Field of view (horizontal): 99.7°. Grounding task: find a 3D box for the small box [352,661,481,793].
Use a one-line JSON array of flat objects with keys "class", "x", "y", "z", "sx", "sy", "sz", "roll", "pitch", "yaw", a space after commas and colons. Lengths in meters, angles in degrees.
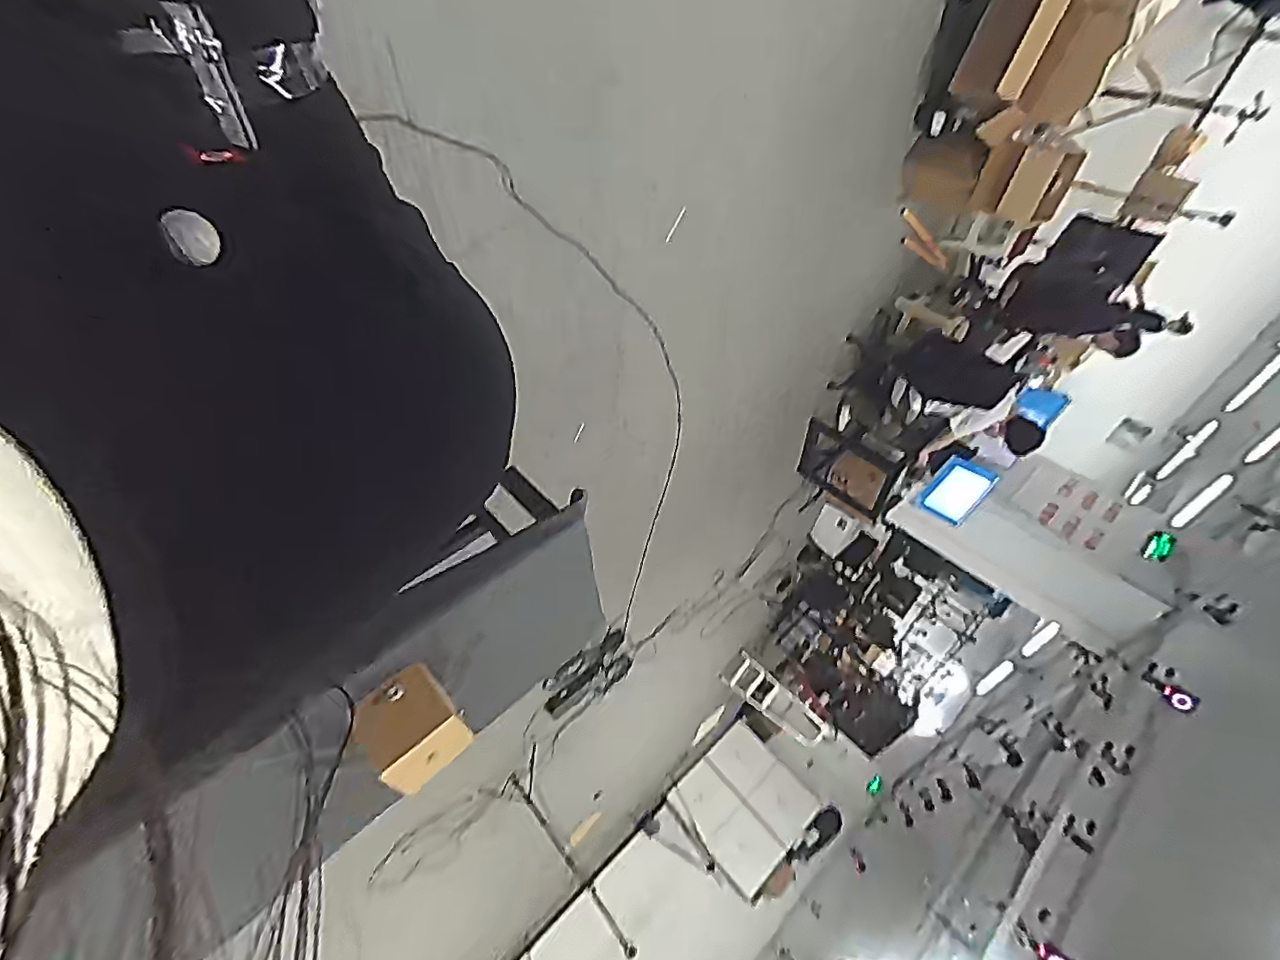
[{"class": "small box", "x": -0.472, "y": 0.520, "z": 1.151, "sx": 0.168, "sy": 0.176, "sz": 0.179, "roll": -37, "pitch": 146, "yaw": -24}]
